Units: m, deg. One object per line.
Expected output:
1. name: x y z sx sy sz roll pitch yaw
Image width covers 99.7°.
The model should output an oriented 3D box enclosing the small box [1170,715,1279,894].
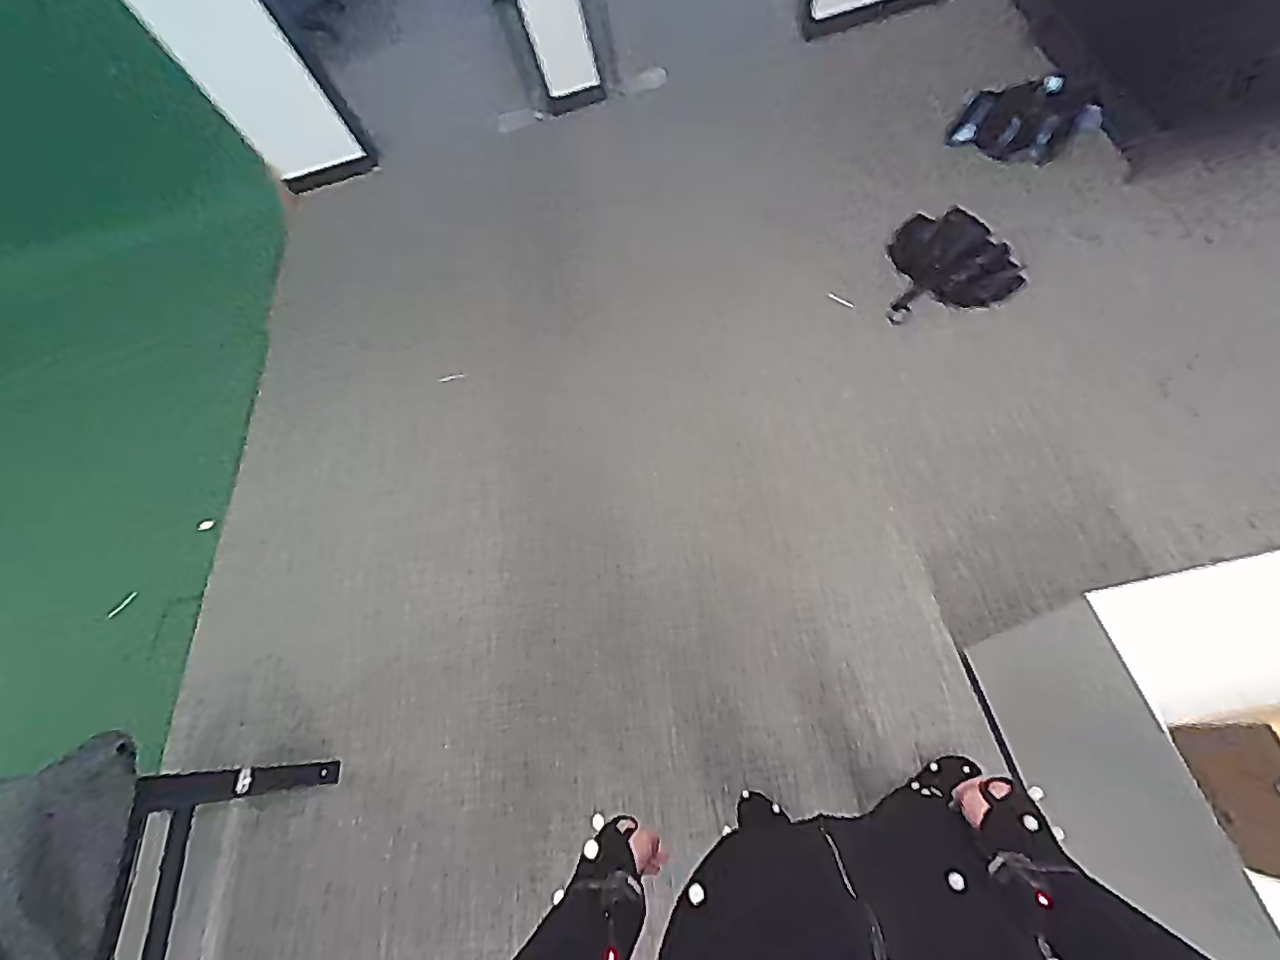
1. small box: 0.767 0.353 0.593 0.179 0.176 0.168 -13 62 5
